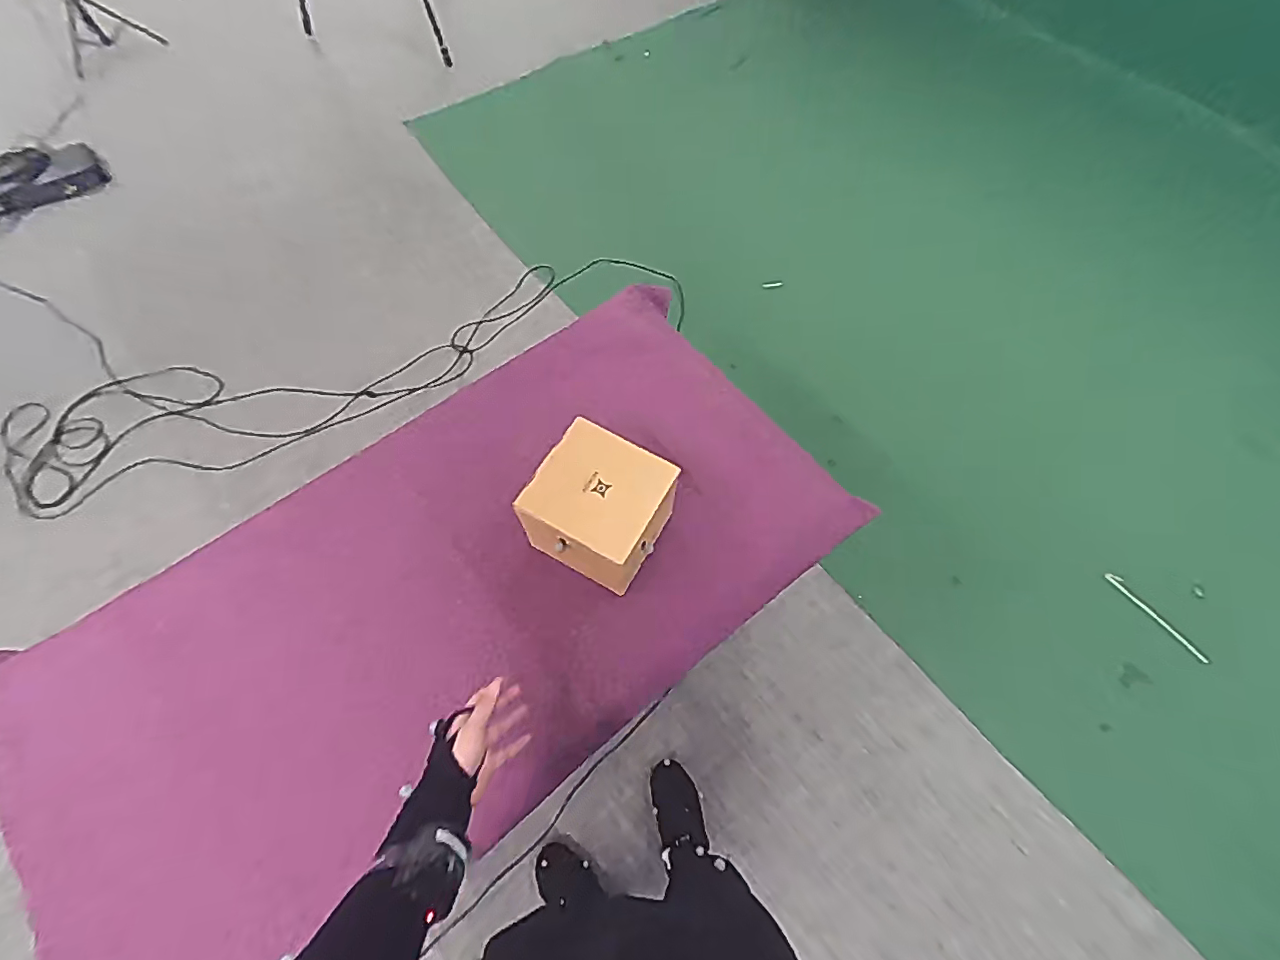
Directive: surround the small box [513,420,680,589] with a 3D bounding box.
[{"bbox_3d":[-0.058,0.046,0.811,0.179,0.176,0.168,27,67,12],"label":"small box"}]
